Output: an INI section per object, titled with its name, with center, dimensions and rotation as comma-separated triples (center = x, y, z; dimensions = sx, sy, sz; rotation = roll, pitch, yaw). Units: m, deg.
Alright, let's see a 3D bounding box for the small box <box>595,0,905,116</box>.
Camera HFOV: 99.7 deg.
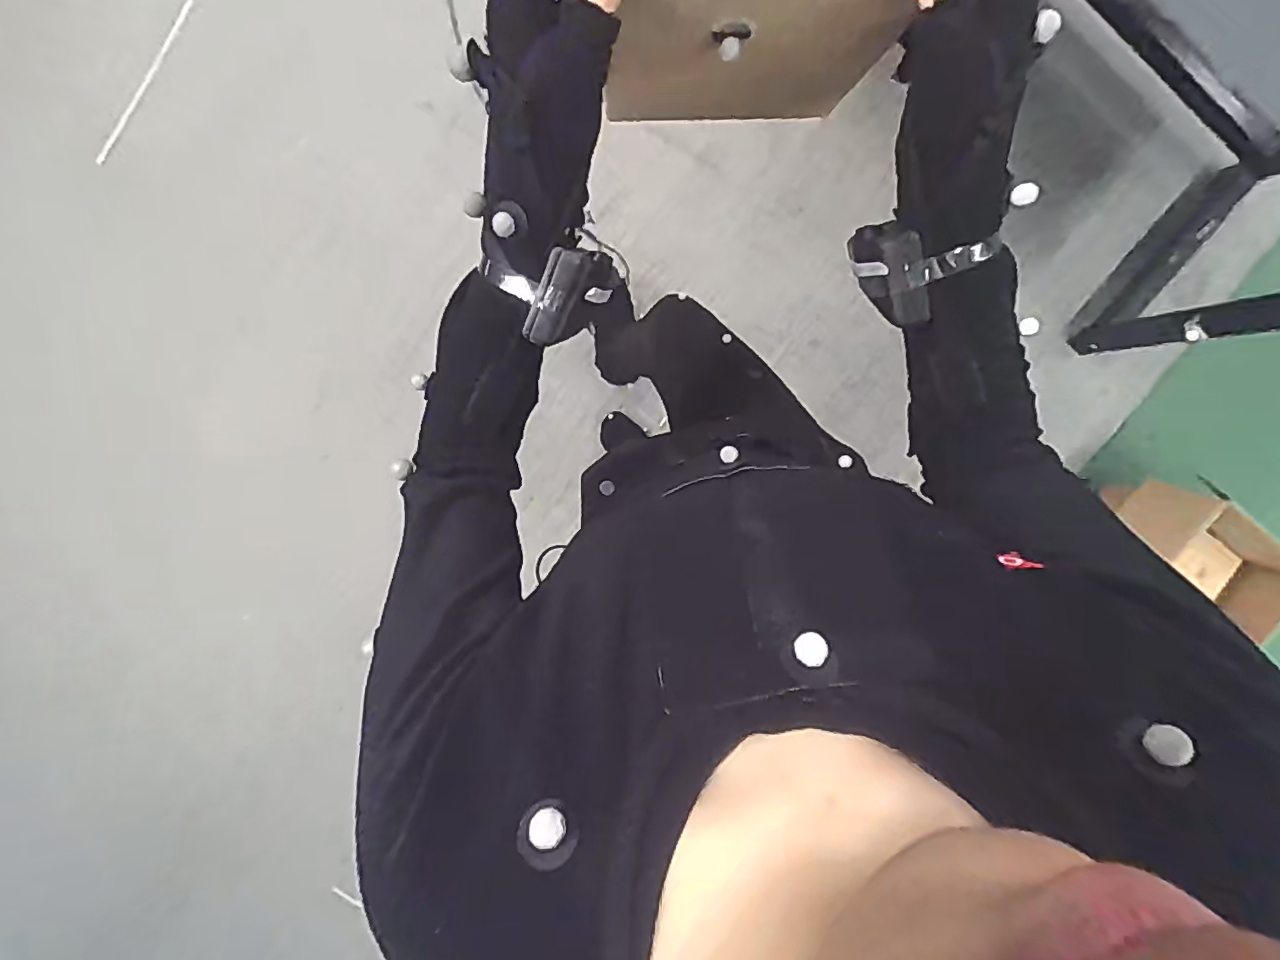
[small box]
center = 0.059, -0.341, 0.323
dimensions = 0.179, 0.176, 0.168
rotation = -1, 105, -1
